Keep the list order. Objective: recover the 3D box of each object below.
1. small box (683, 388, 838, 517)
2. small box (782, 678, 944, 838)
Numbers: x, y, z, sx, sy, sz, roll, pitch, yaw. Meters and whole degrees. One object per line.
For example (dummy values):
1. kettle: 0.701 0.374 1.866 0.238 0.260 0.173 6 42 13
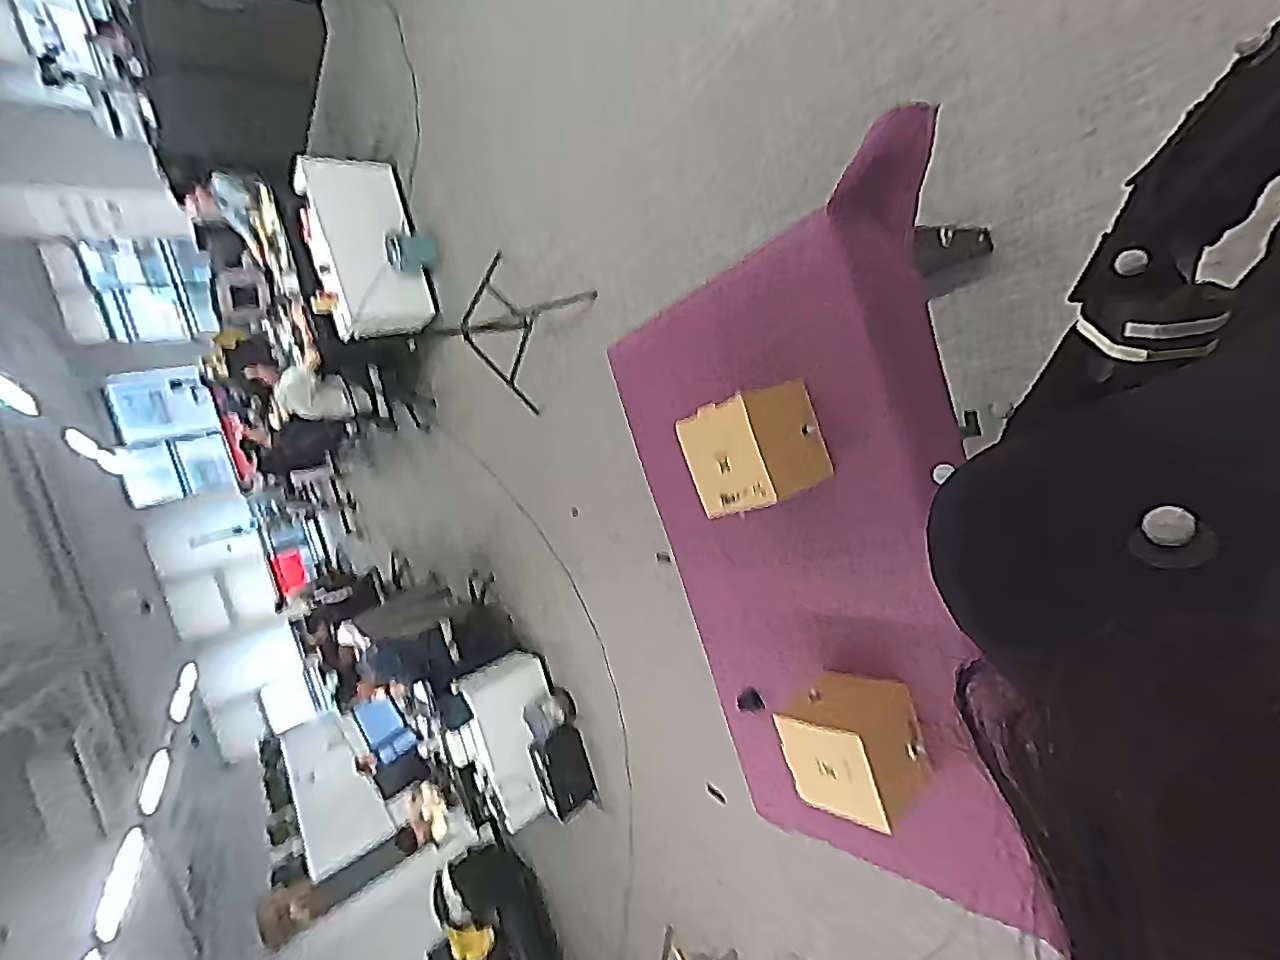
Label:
1. small box: 0.209 -0.050 0.935 0.168 0.176 0.179 -20 89 54
2. small box: 0.385 0.463 0.936 0.179 0.176 0.168 -18 92 53
